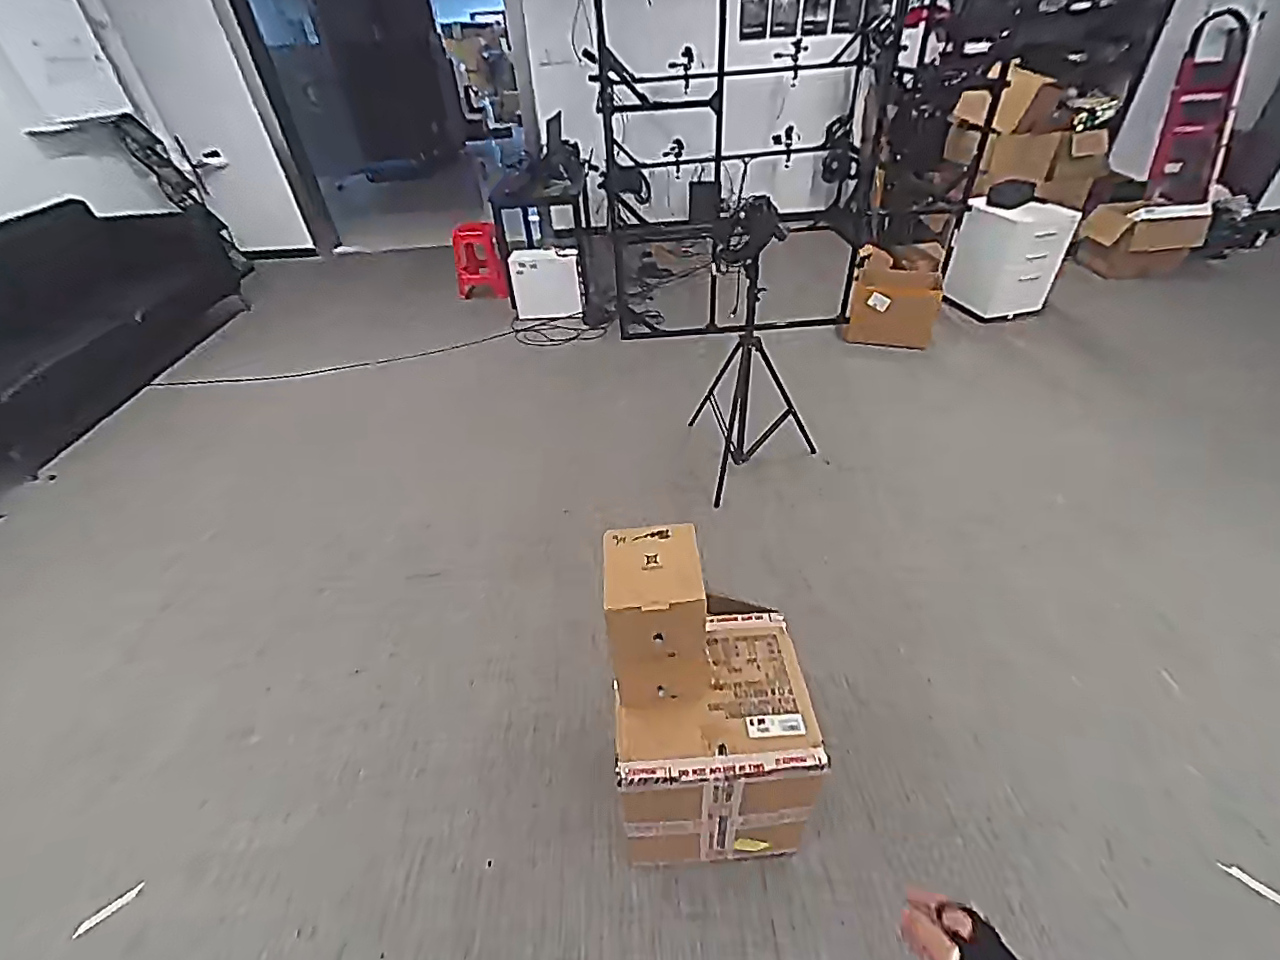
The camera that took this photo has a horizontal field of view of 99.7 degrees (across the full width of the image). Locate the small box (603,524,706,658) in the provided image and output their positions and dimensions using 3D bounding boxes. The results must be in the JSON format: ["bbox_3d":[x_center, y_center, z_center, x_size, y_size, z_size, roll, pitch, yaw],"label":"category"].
[{"bbox_3d":[0.027,0.204,0.971,0.168,0.176,0.179,-6,42,1],"label":"small box"}]

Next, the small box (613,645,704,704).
[{"bbox_3d":[0.034,0.322,1.086,0.168,0.176,0.179,-7,42,0],"label":"small box"}]
